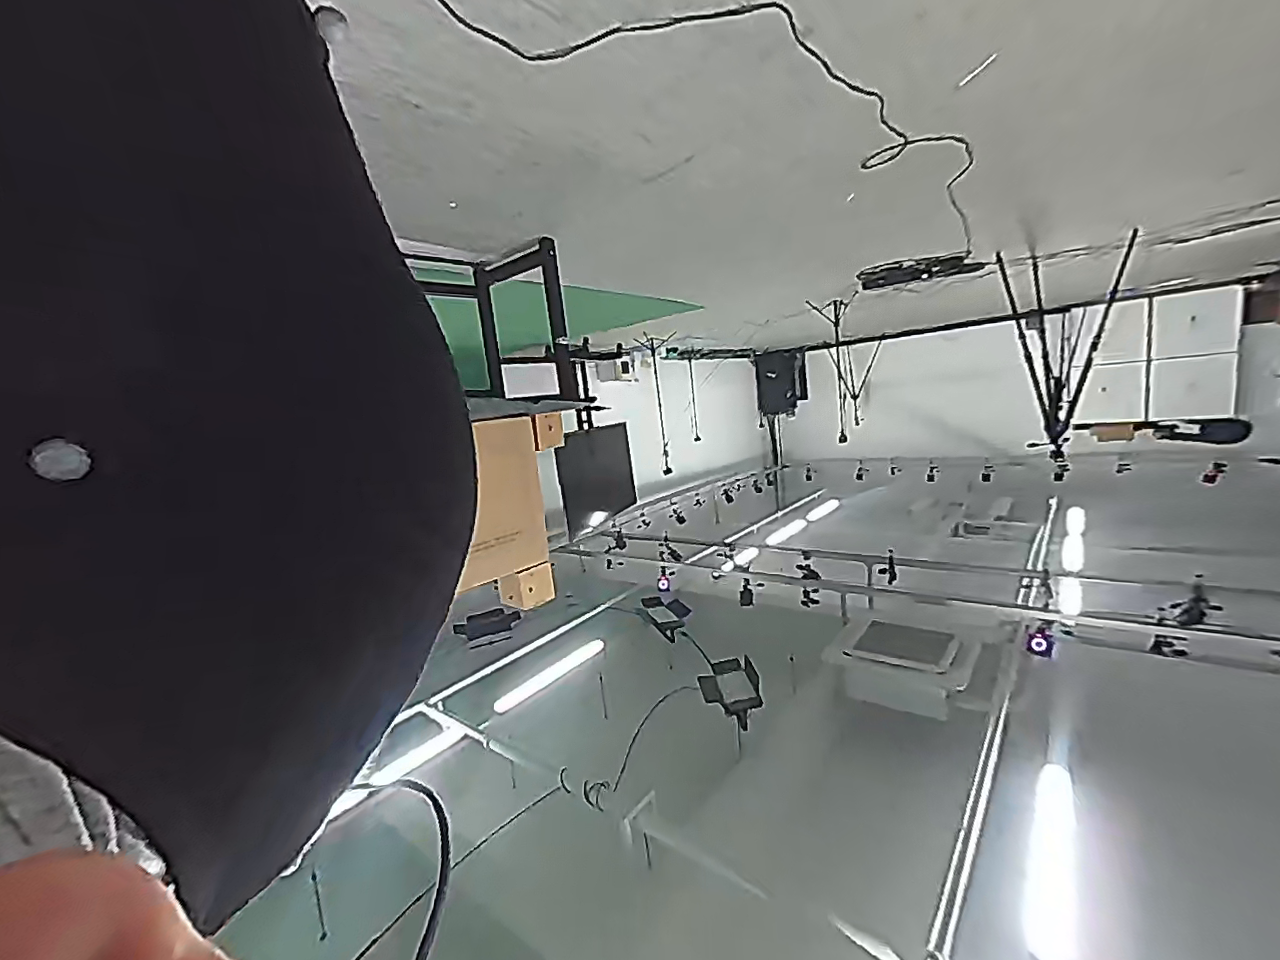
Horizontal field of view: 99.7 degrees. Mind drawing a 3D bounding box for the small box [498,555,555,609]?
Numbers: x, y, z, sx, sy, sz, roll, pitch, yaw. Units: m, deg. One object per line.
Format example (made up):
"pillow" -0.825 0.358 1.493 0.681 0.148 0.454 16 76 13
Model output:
"small box" -0.492 0.431 2.323 0.179 0.176 0.168 3 -167 44
